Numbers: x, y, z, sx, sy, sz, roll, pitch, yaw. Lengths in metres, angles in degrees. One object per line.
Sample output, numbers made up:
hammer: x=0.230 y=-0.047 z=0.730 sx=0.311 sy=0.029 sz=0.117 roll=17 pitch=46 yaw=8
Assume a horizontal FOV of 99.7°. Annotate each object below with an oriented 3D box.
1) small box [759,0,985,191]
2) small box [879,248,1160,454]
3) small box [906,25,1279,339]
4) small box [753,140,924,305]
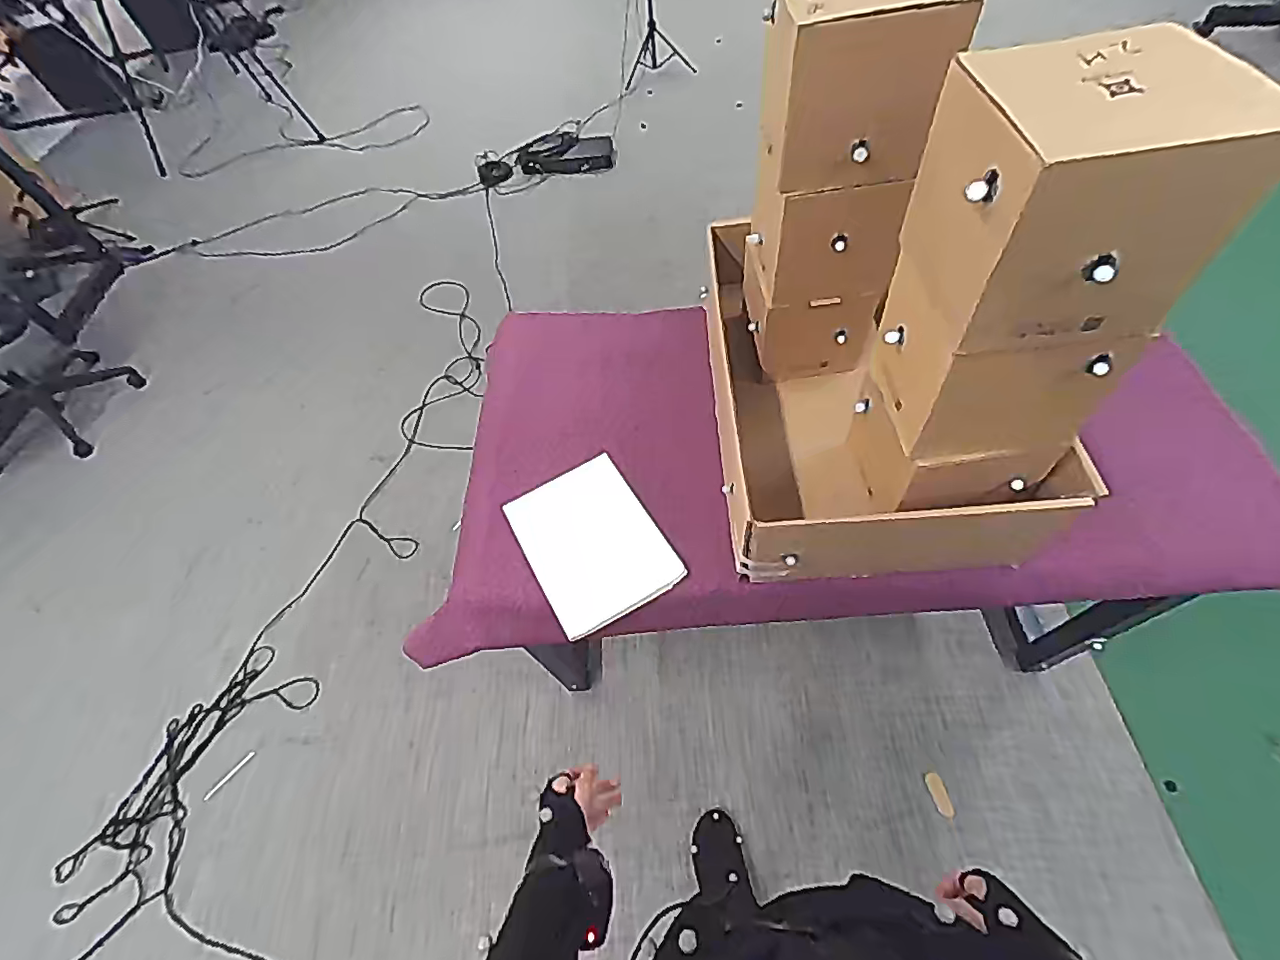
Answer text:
small box: x=0.242 y=-0.460 z=0.617 sx=0.179 sy=0.176 sz=0.168 roll=-4 pitch=58 yaw=4
small box: x=0.375 y=-0.142 z=0.584 sx=0.179 sy=0.176 sz=0.168 roll=-4 pitch=55 yaw=5
small box: x=0.348 y=-0.233 z=0.450 sx=0.168 sy=0.176 sz=0.179 roll=-5 pitch=55 yaw=5
small box: x=0.262 y=-0.370 z=0.753 sx=0.179 sy=0.176 sz=0.168 roll=-7 pitch=57 yaw=4
